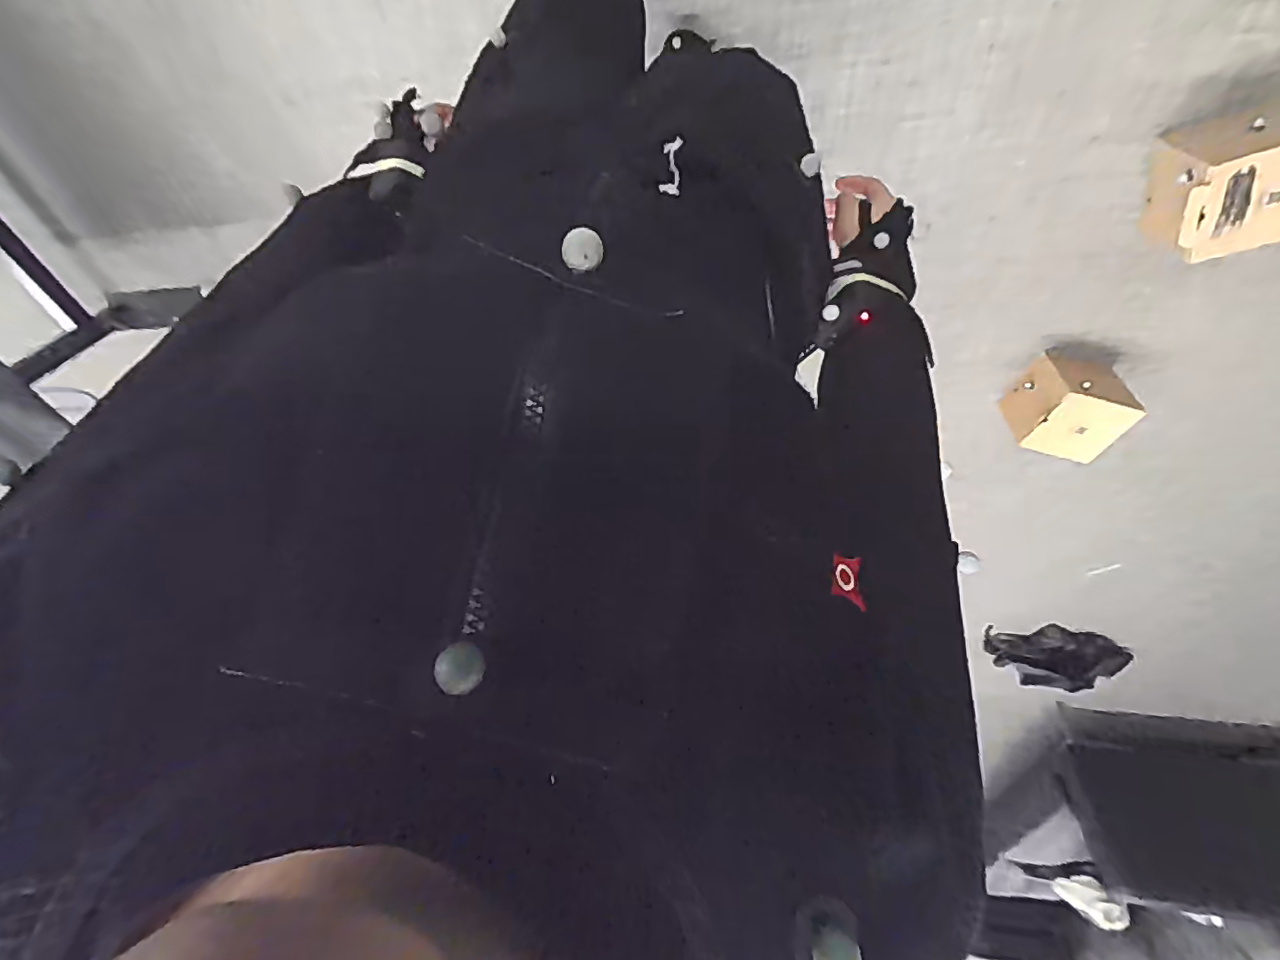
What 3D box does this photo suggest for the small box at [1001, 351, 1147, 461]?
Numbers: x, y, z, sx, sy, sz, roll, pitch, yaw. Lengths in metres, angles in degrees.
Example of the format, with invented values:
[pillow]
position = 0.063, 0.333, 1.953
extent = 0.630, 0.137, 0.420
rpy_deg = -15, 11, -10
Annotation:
[small box]
position = 0.991, -0.175, 1.254
extent = 0.179, 0.176, 0.168
rpy_deg = 14, 137, -2
